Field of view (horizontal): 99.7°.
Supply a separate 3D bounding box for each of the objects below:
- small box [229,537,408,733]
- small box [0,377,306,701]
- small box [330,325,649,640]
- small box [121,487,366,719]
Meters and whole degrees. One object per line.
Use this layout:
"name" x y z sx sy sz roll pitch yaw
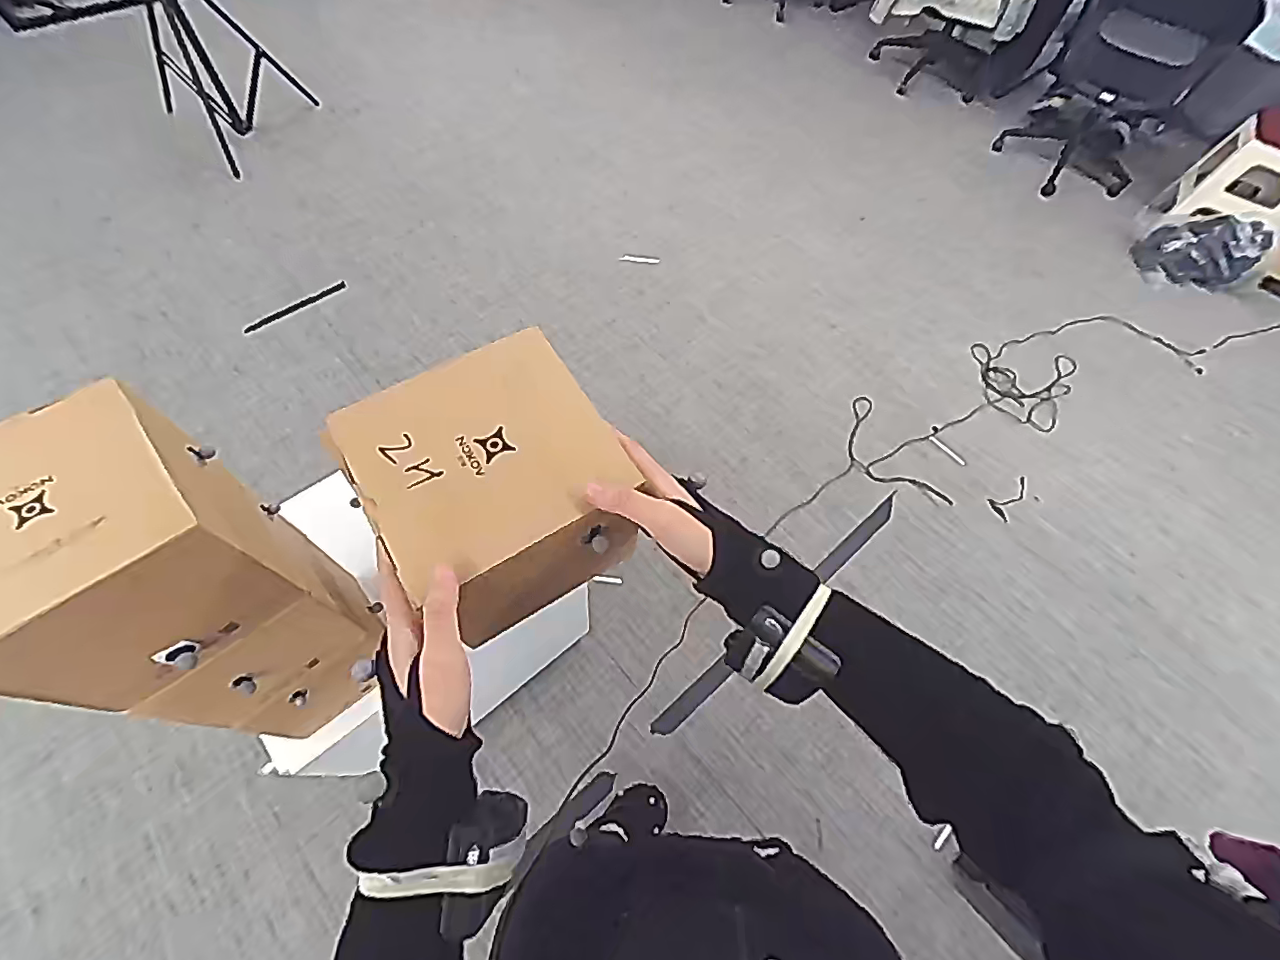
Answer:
"small box" -0.450 0.215 0.730 0.168 0.176 0.179 -36 68 -20
"small box" -0.427 0.057 0.448 0.168 0.176 0.179 -38 71 -21
"small box" -0.113 0.011 0.455 0.179 0.176 0.168 -29 70 -15
"small box" -0.437 0.137 0.589 0.168 0.176 0.179 -37 69 -22
